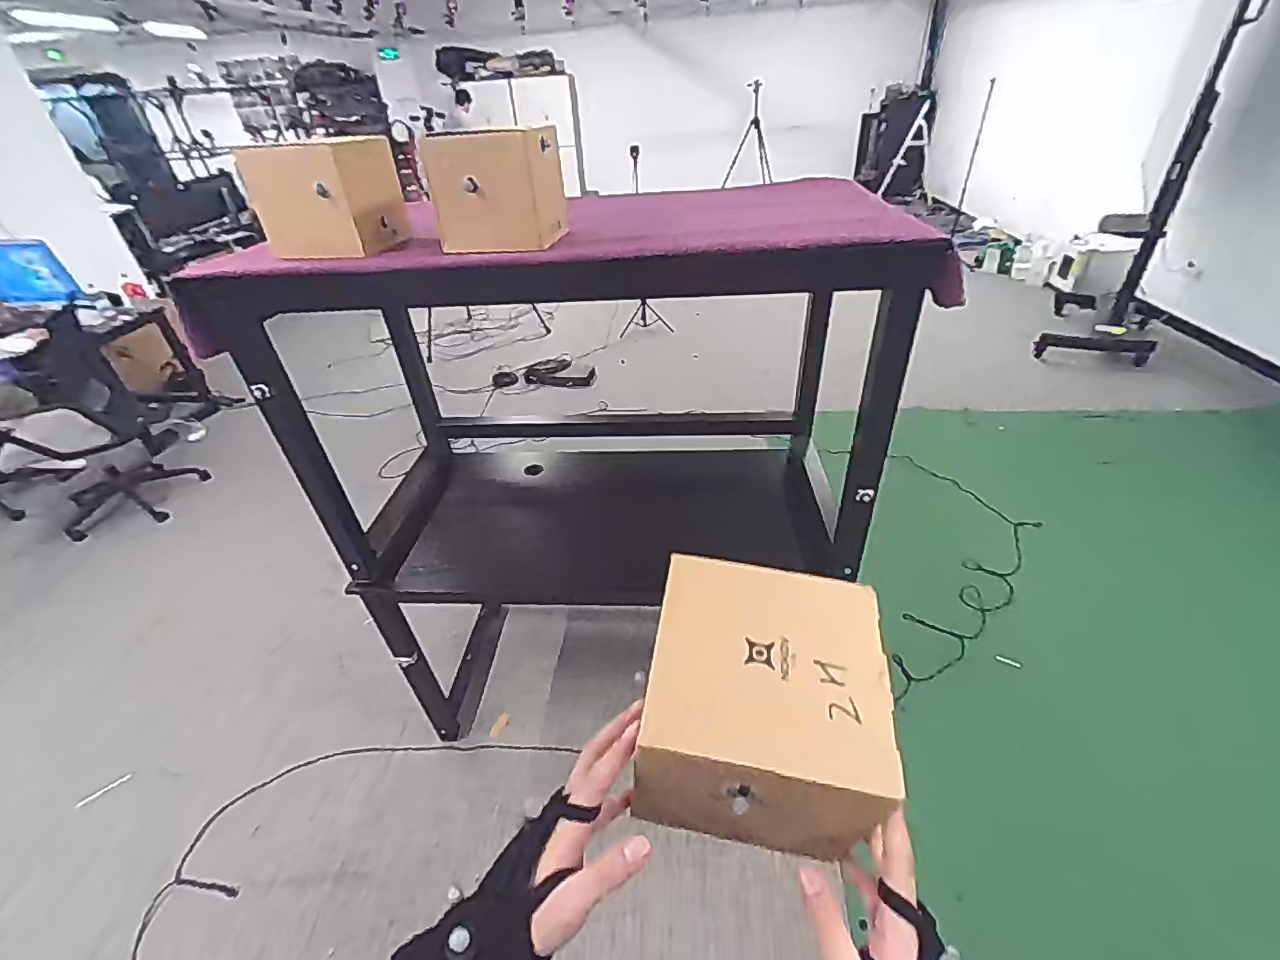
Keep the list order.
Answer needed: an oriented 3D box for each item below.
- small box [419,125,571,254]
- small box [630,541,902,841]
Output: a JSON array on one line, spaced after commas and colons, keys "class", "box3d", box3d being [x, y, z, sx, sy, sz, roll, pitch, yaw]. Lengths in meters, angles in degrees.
[{"class": "small box", "box3d": [-0.228, -0.481, 0.898, 0.179, 0.176, 0.168, 1, 35, 9]}, {"class": "small box", "box3d": [0.092, 0.177, 0.455, 0.179, 0.176, 0.168, 9, 45, 7]}]
